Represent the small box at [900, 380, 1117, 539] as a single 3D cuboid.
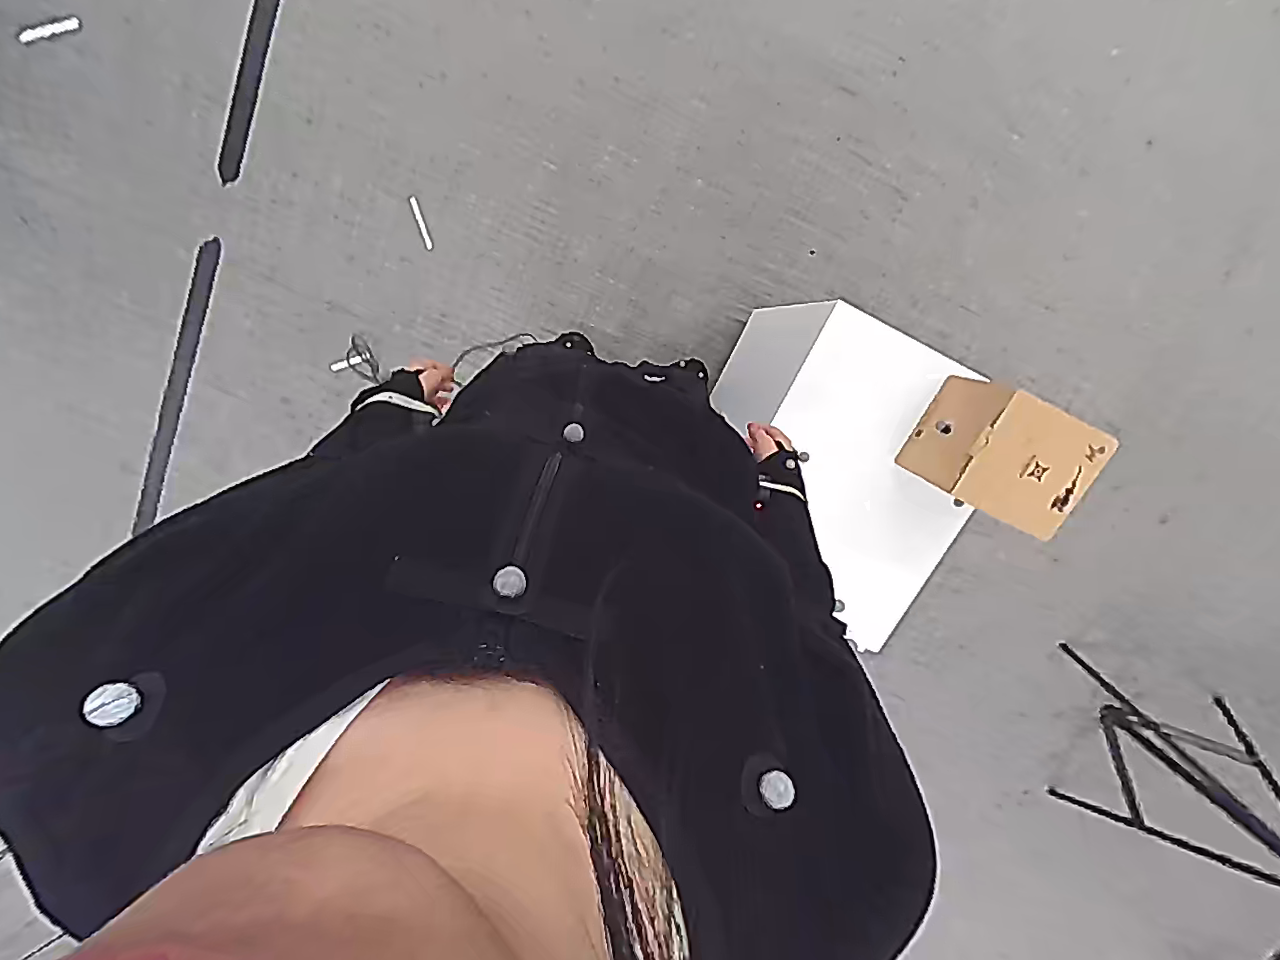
[{"bbox_3d":[0.537,-0.042,0.820,0.179,0.176,0.168,25,105,-7],"label":"small box"}]
